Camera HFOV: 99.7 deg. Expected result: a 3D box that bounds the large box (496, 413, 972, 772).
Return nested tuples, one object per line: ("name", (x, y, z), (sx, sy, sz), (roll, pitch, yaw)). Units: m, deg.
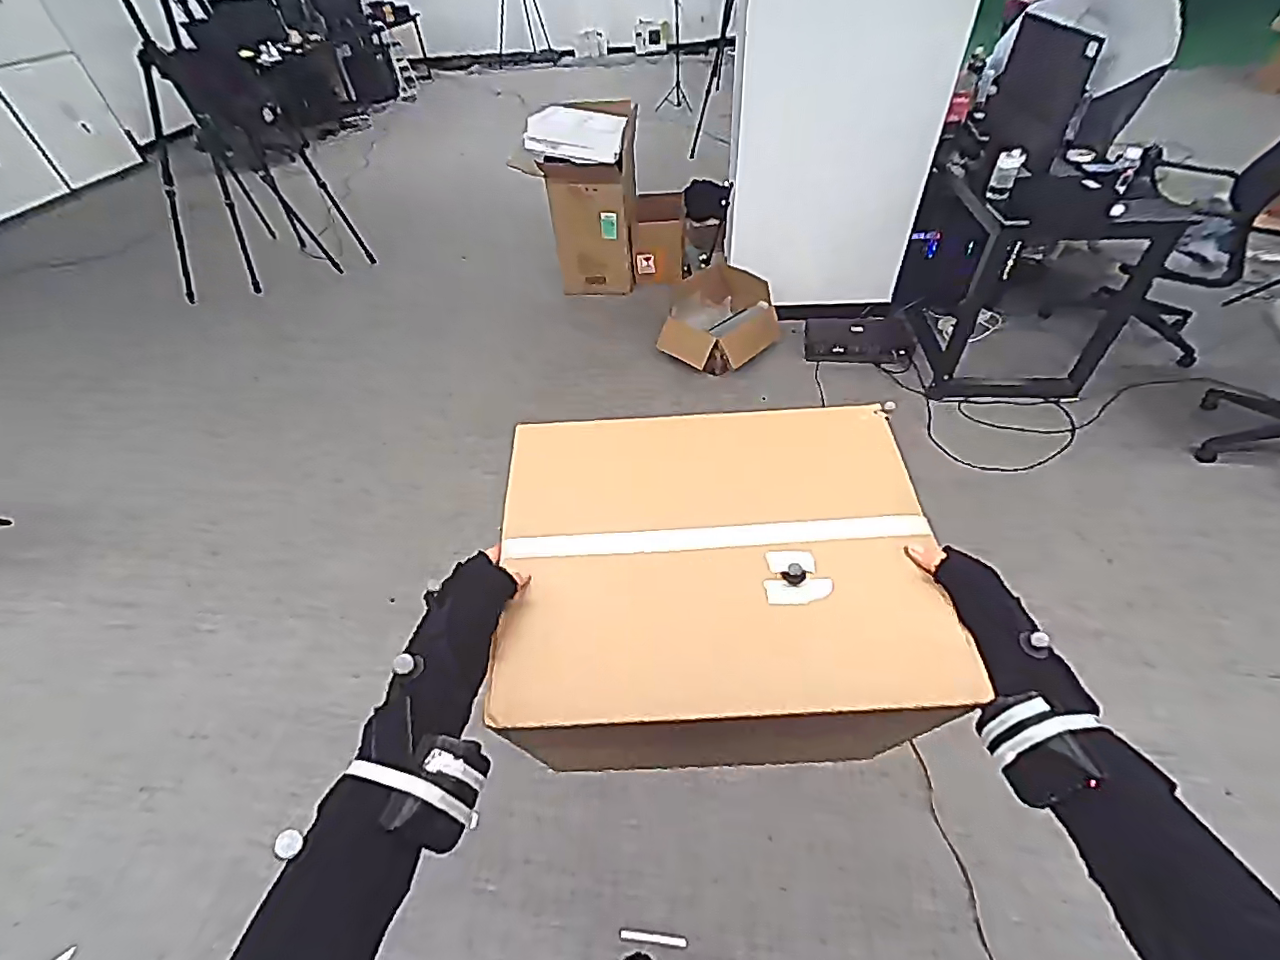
("large box", (0.075, 0.146, 0.649), (0.408, 0.320, 0.320), (-3, 56, 1))
